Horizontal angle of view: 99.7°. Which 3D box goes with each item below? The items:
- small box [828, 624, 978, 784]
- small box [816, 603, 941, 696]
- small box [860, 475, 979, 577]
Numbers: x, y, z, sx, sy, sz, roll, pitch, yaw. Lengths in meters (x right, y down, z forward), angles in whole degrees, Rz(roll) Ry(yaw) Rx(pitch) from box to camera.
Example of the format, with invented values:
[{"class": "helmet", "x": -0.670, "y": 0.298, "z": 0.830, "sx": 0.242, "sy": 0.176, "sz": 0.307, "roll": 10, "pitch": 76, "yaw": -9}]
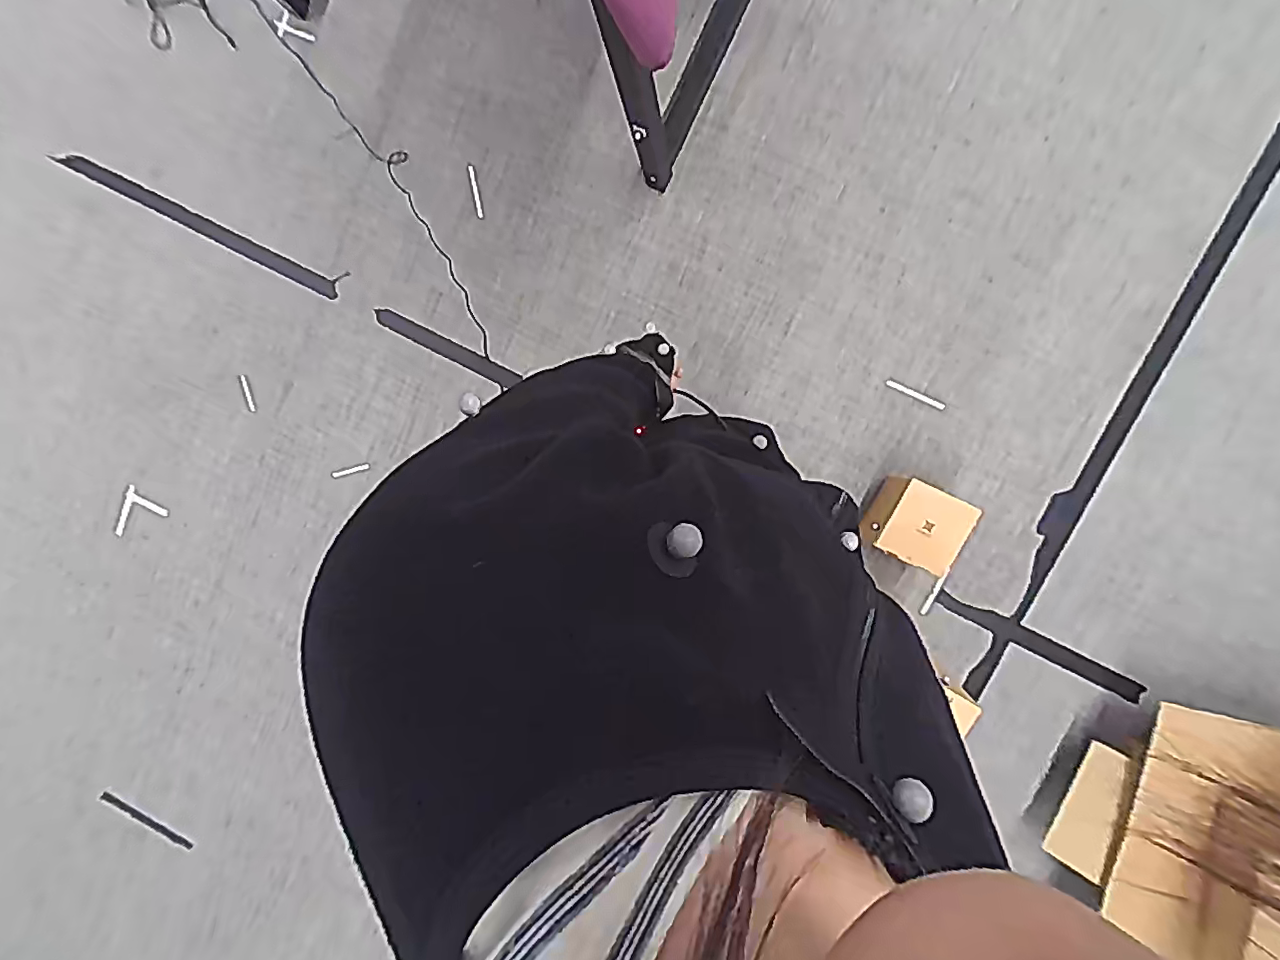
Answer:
[{"class": "small box", "x": 0.468, "y": 0.402, "z": 0.998, "sx": 0.168, "sy": 0.176, "sz": 0.179, "roll": 31, "pitch": 100, "yaw": 5}, {"class": "small box", "x": 0.496, "y": 0.390, "z": 1.159, "sx": 0.168, "sy": 0.176, "sz": 0.179, "roll": 28, "pitch": 99, "yaw": 6}, {"class": "small box", "x": 0.648, "y": 0.099, "z": 1.281, "sx": 0.168, "sy": 0.176, "sz": 0.179, "roll": 27, "pitch": 98, "yaw": 5}]
